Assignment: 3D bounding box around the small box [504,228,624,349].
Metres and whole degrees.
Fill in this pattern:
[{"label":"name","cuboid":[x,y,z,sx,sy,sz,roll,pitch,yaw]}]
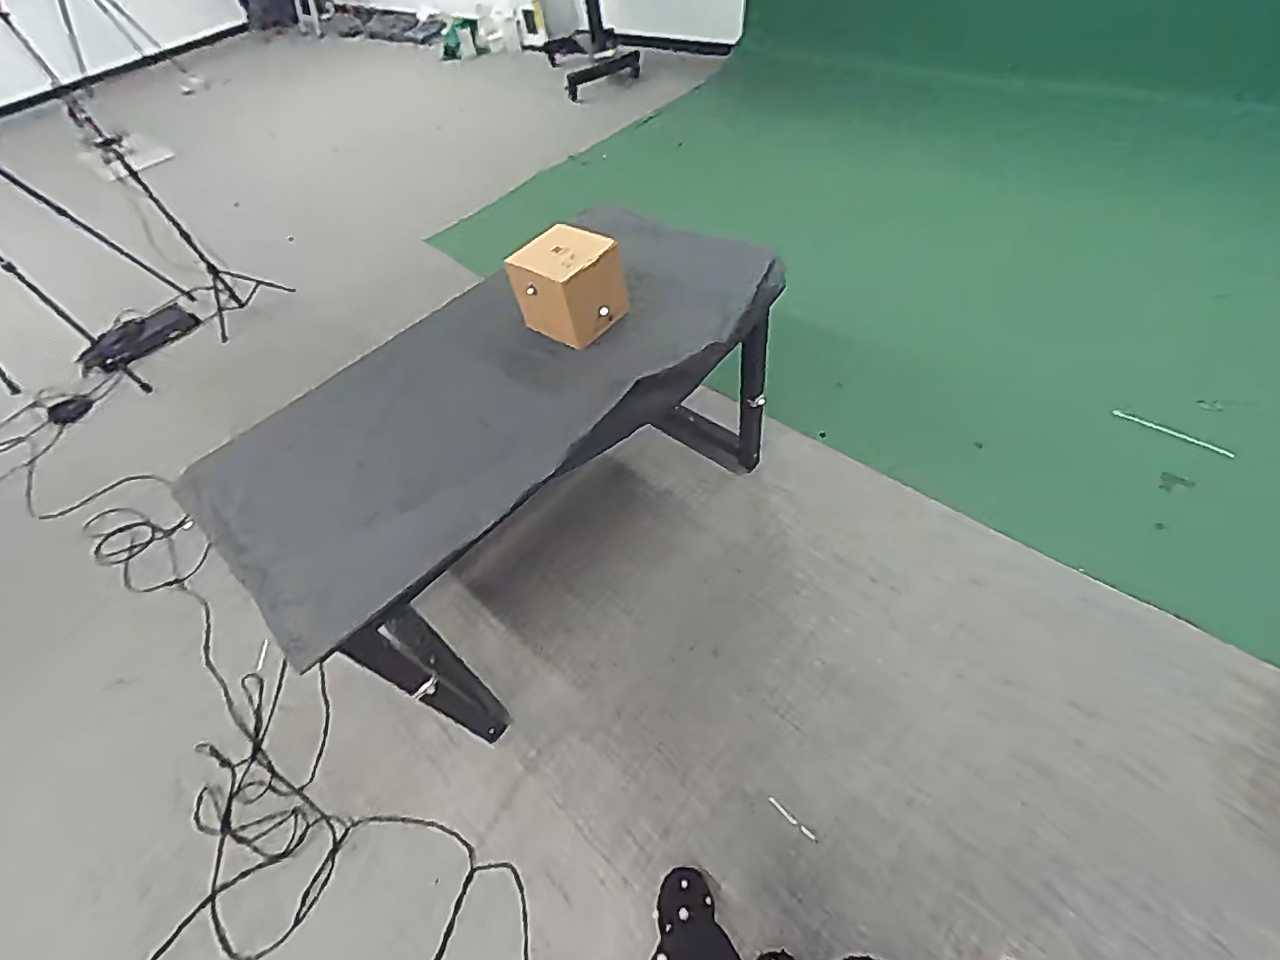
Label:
[{"label":"small box","cuboid":[-0.158,-0.411,1.170,0.179,0.176,0.168,30,63,28]}]
